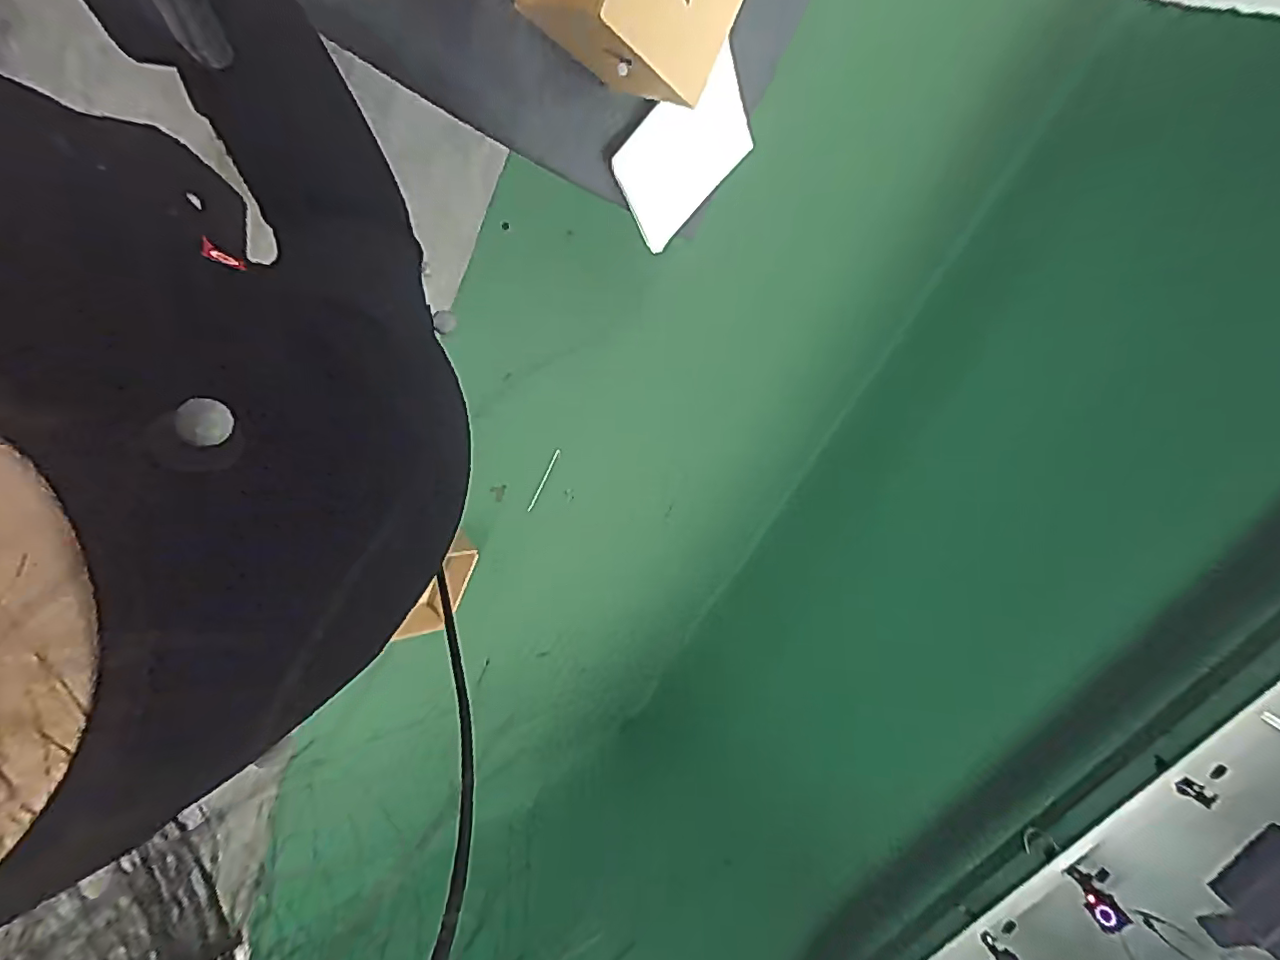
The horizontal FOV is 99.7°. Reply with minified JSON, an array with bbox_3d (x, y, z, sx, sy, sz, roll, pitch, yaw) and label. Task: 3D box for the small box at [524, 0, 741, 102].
[{"bbox_3d":[-0.003,-0.571,0.606,0.179,0.176,0.168,1,123,-49],"label":"small box"}]
